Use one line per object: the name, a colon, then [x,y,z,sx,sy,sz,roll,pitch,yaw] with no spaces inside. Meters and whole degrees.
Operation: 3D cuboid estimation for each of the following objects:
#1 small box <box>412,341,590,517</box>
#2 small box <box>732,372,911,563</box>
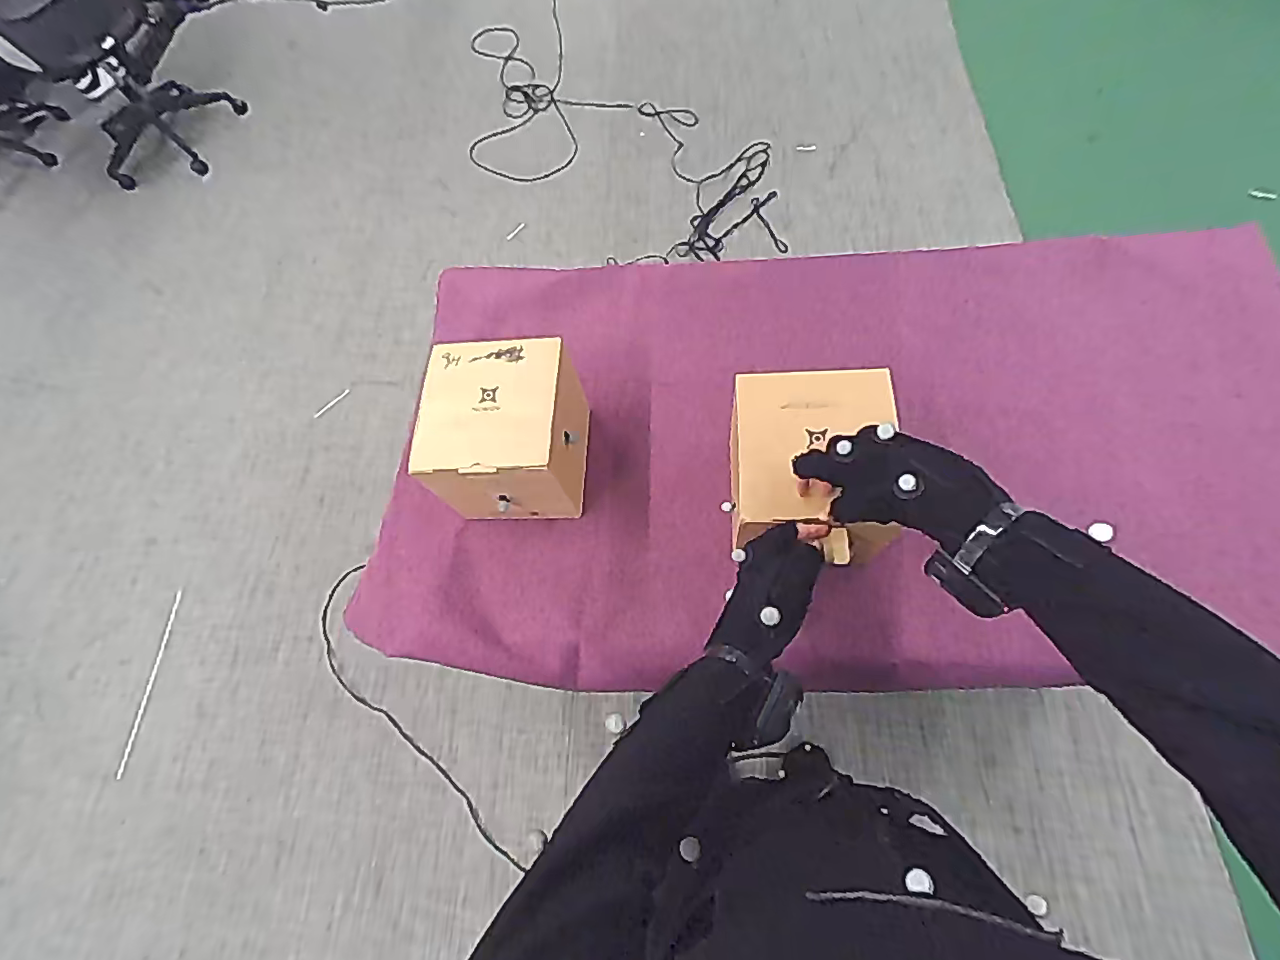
small box: [-0.164,-0.055,0.702,0.168,0.176,0.179,-1,67,7]
small box: [0.194,-0.005,0.631,0.168,0.176,0.179,-1,66,7]
